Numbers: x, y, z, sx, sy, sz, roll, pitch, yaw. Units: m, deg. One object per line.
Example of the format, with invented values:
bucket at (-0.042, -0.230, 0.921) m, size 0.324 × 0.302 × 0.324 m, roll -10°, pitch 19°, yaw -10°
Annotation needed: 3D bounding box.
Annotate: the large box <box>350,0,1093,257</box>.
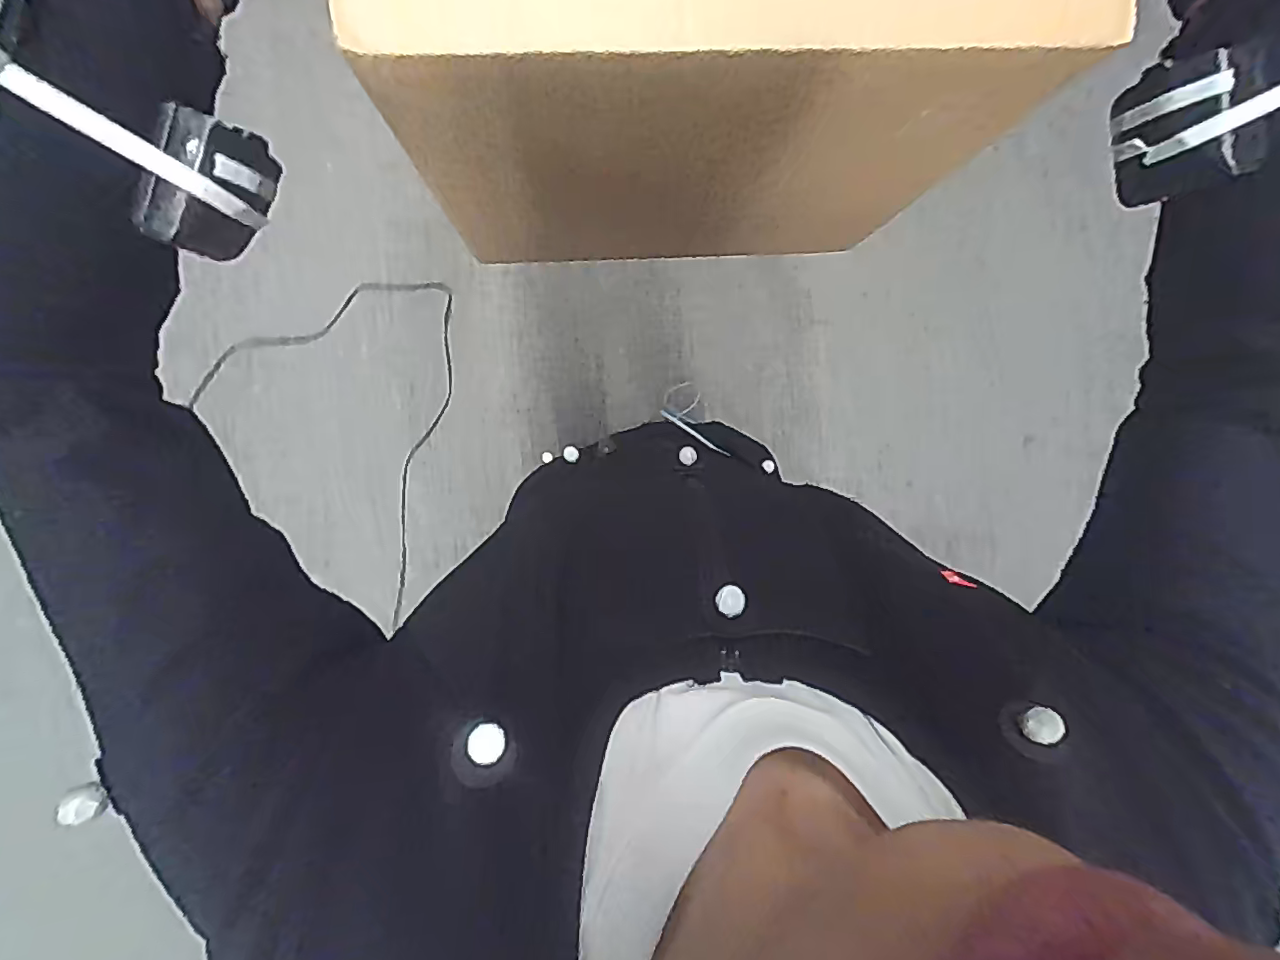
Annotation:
large box at (0.025, -0.389, 0.418) m, size 0.408 × 0.320 × 0.320 m, roll -5°, pitch 95°, yaw -6°
